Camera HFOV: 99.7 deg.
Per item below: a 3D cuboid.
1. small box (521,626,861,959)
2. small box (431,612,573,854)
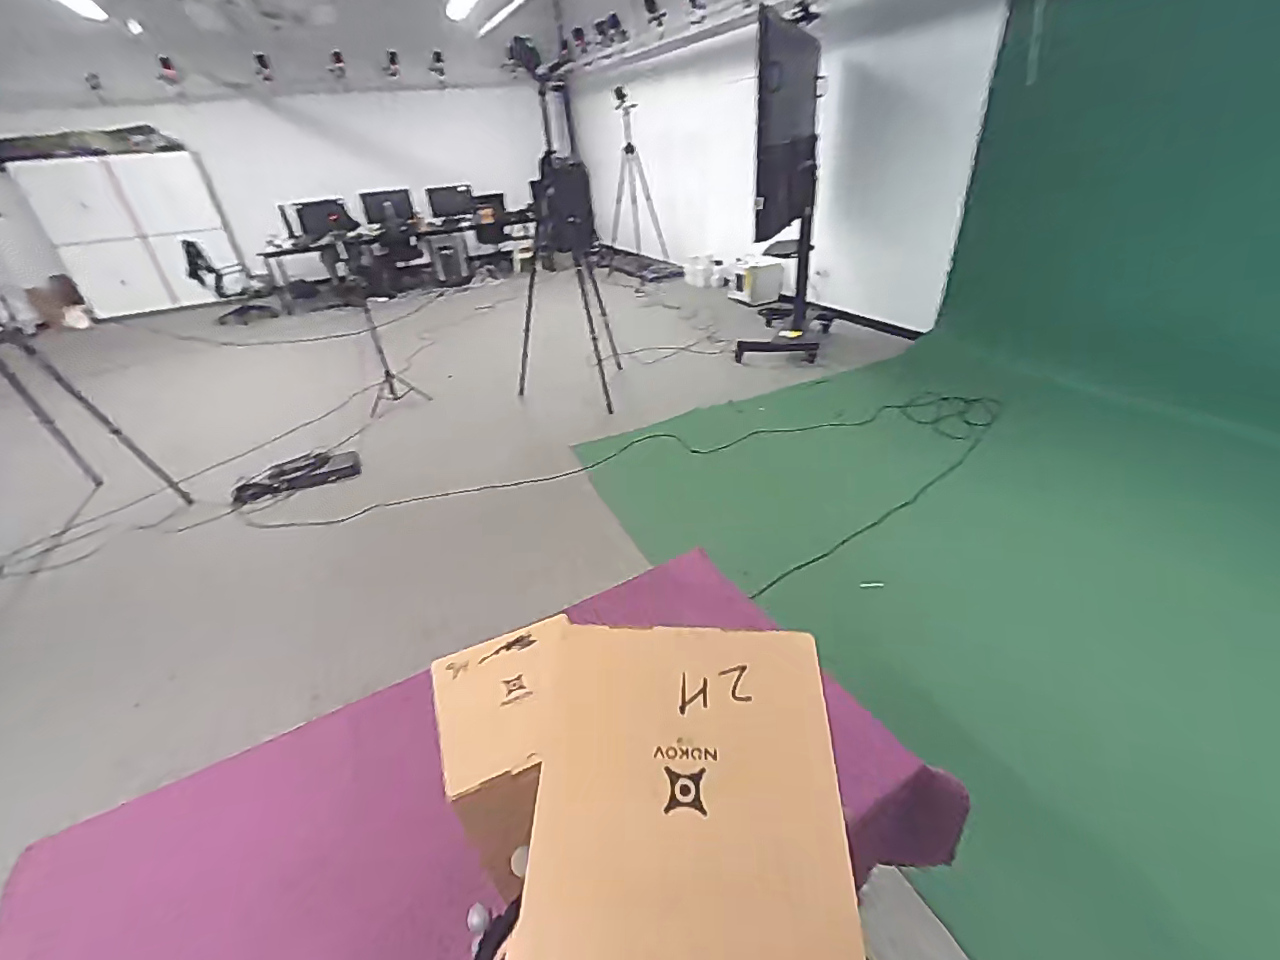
[{"bbox_3d":[0.033,0.218,0.365,0.168,0.176,0.179,2,50,4],"label":"small box"},{"bbox_3d":[-0.130,0.294,0.630,0.168,0.176,0.179,-17,35,-17],"label":"small box"}]
